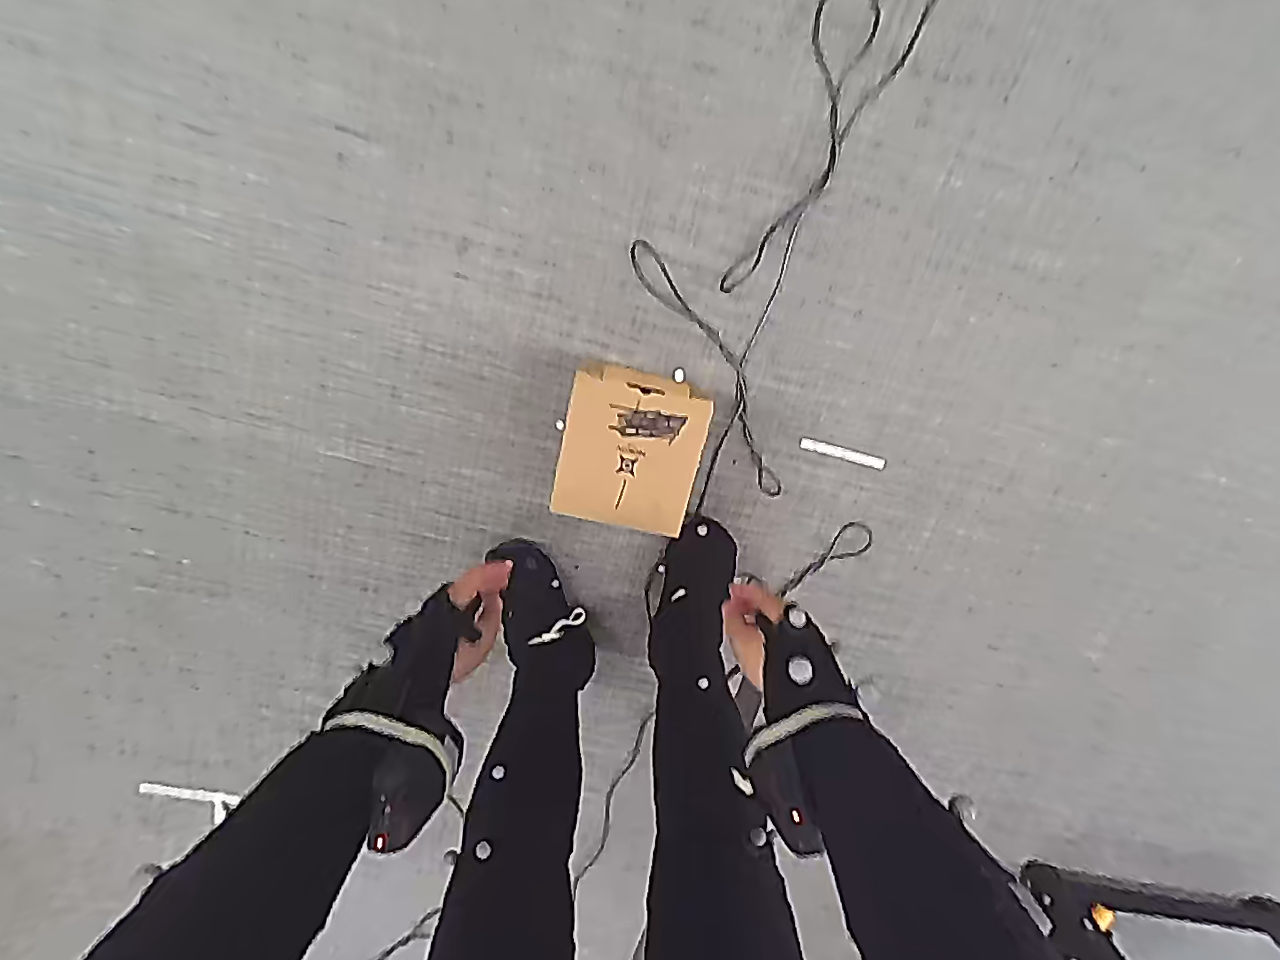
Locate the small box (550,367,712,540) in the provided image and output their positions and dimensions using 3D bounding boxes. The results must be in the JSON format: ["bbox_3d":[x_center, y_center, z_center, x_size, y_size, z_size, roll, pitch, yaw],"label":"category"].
[{"bbox_3d":[-0.016,-0.046,0.723,0.168,0.176,0.179,12,107,-5],"label":"small box"}]
